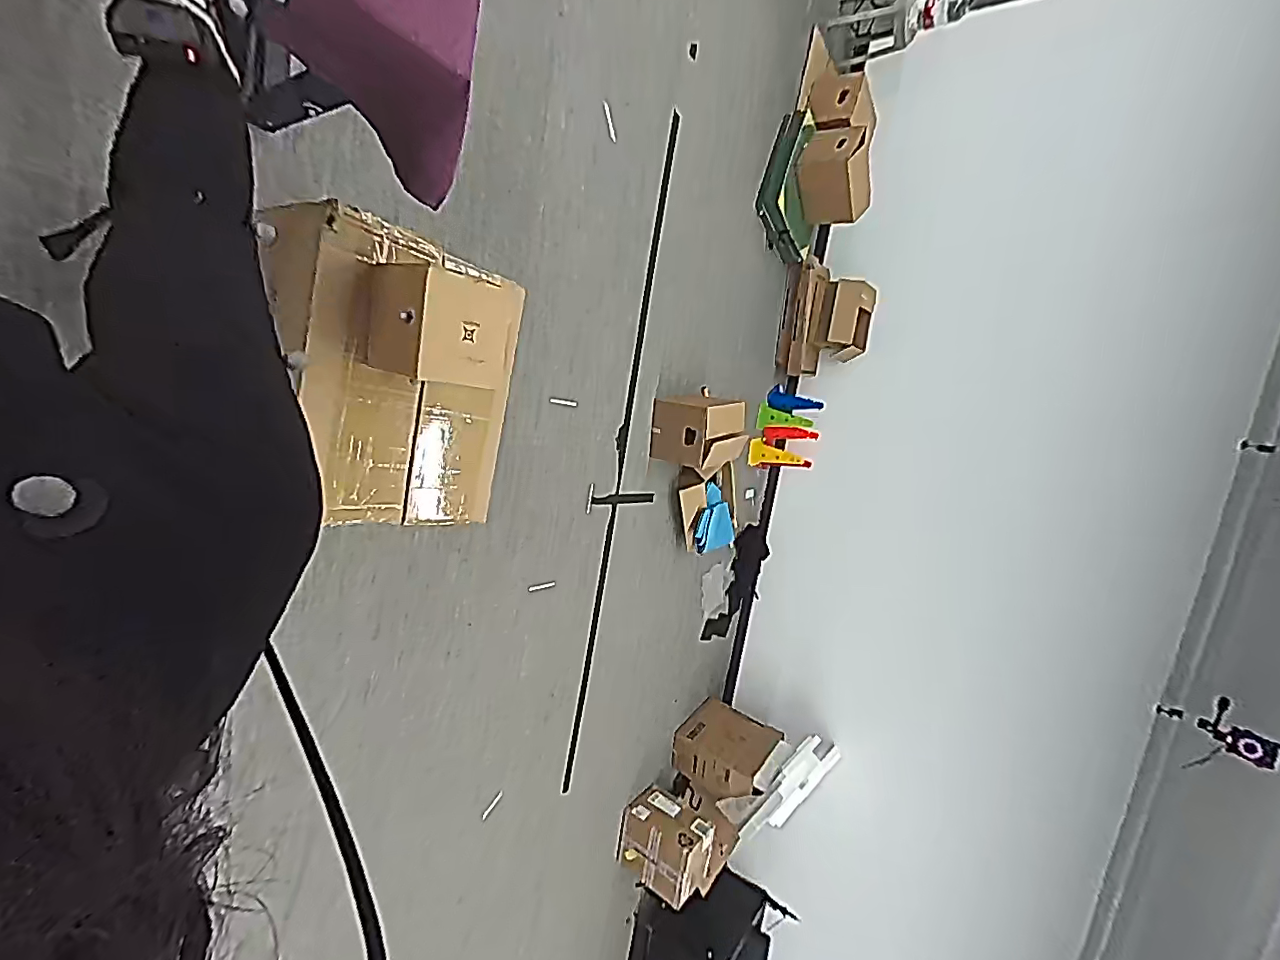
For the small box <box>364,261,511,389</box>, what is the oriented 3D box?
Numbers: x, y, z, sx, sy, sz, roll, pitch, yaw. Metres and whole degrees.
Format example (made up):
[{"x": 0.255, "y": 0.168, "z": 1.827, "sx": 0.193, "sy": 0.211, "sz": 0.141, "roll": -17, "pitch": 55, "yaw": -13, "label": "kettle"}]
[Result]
[{"x": -0.346, "y": -0.261, "z": 0.919, "sx": 0.168, "sy": 0.176, "sz": 0.179, "roll": -2, "pitch": 106, "yaw": -53, "label": "small box"}]
